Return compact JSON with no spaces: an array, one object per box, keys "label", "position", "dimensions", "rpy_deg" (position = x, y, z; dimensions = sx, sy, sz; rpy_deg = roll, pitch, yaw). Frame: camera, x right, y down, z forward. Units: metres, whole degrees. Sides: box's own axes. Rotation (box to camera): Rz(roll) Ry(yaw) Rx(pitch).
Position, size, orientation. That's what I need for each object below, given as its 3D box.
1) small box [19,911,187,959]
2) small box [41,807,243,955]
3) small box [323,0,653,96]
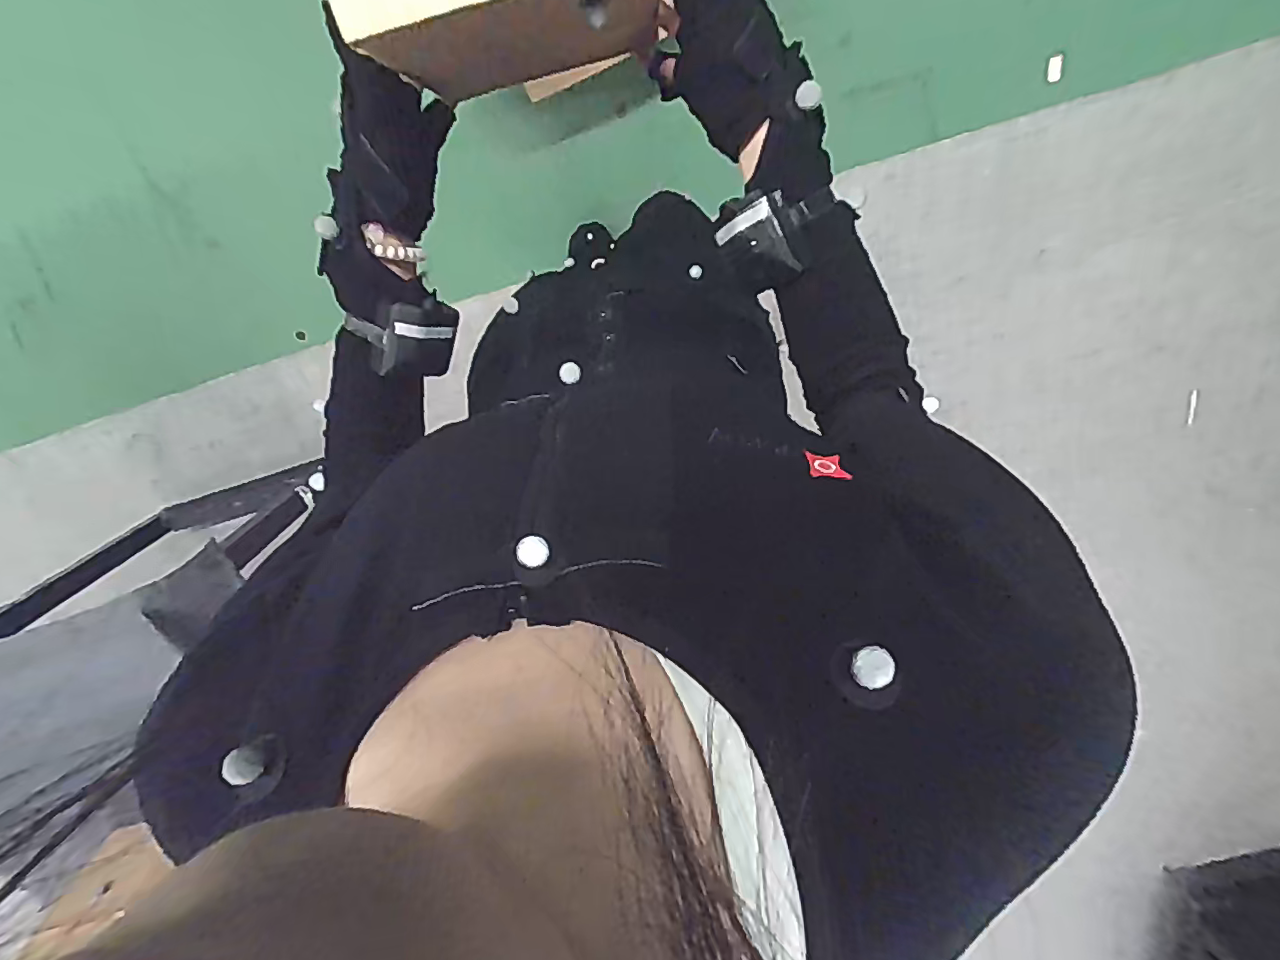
[{"label":"small box","position":[-0.861,0.803,0.819],"dimensions":[0.179,0.176,0.168],"rpy_deg":[-19,115,5]},{"label":"small box","position":[-0.858,0.720,0.962],"dimensions":[0.179,0.176,0.168],"rpy_deg":[-17,114,6]},{"label":"small box","position":[-0.091,-0.353,0.314],"dimensions":[0.179,0.176,0.168],"rpy_deg":[-12,116,6]}]
